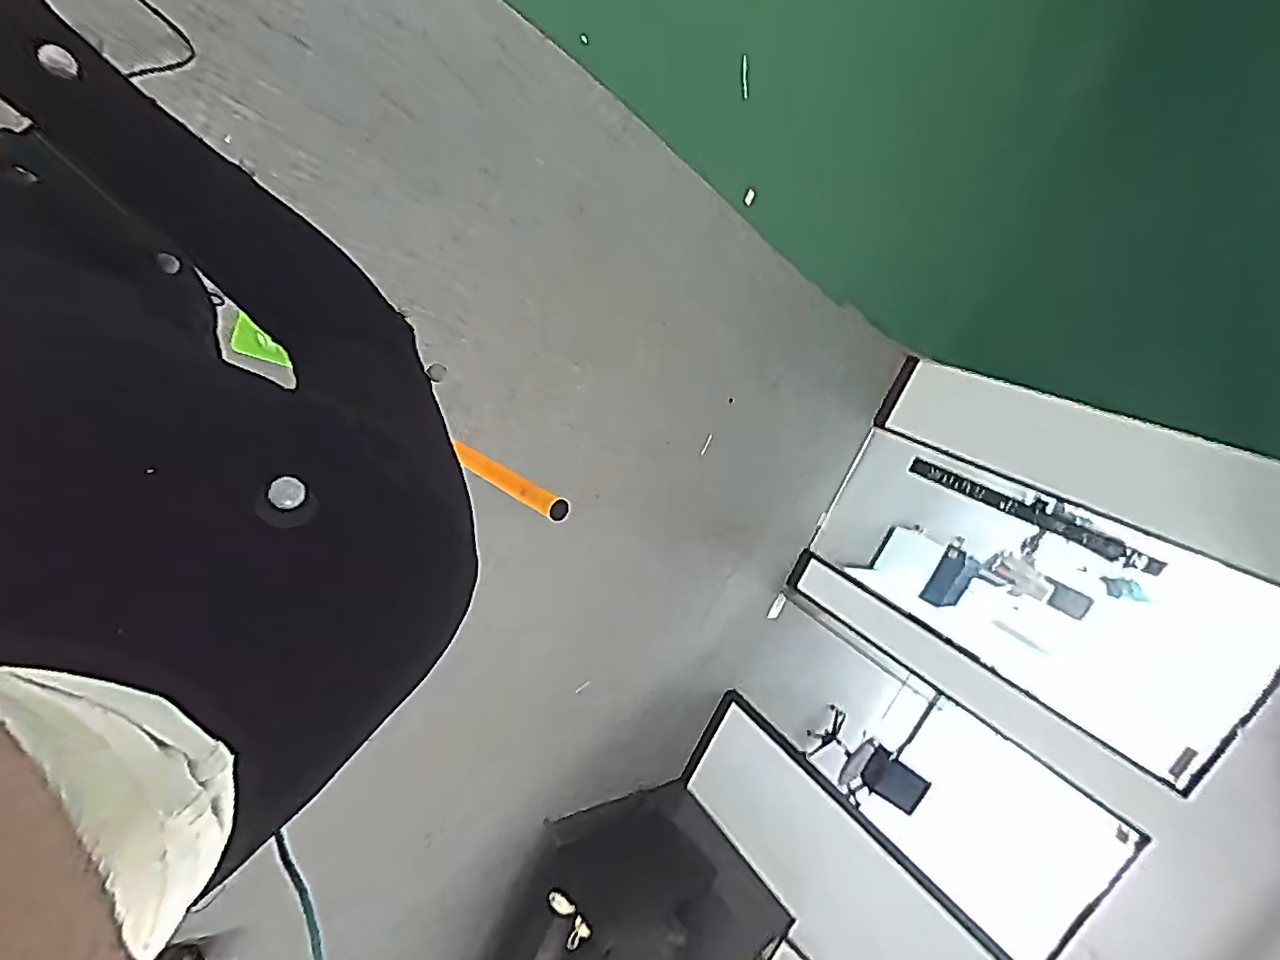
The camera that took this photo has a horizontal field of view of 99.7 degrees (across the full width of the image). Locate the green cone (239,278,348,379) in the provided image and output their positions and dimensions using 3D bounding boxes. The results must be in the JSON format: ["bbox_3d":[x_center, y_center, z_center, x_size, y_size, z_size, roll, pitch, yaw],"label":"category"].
[{"bbox_3d":[-0.752,-0.300,1.220,0.202,0.368,0.200,14,105,-44],"label":"green cone"}]
